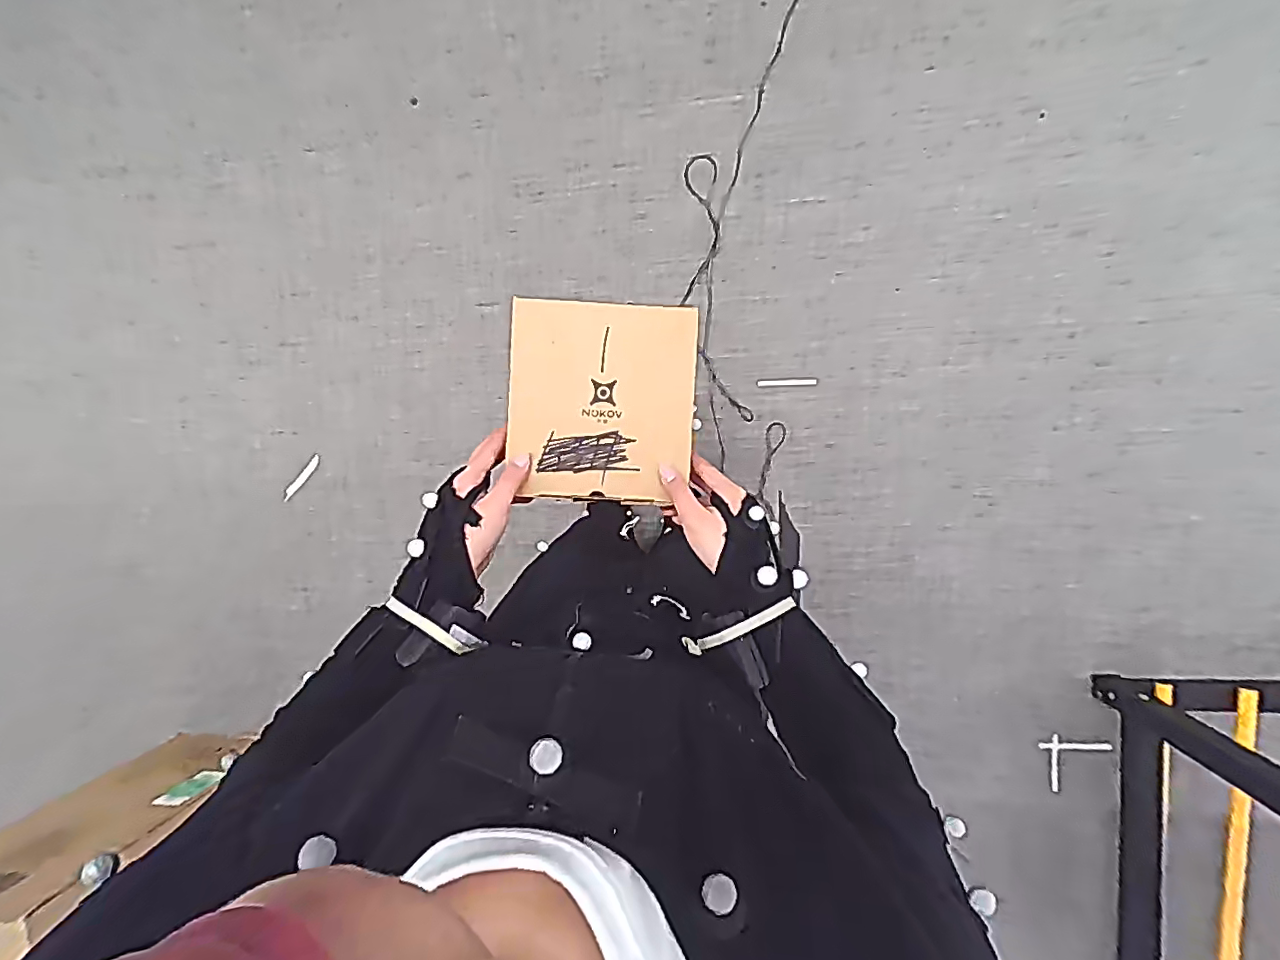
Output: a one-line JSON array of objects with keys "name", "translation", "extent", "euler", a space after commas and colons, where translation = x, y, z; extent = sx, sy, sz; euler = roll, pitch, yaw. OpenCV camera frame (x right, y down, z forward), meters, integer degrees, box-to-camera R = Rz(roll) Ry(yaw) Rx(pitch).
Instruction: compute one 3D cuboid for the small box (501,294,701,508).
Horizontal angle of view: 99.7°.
[{"name": "small box", "translation": [-0.036, -0.071, 0.544], "extent": [0.168, 0.176, 0.179], "euler": [3, 92, -2]}]
